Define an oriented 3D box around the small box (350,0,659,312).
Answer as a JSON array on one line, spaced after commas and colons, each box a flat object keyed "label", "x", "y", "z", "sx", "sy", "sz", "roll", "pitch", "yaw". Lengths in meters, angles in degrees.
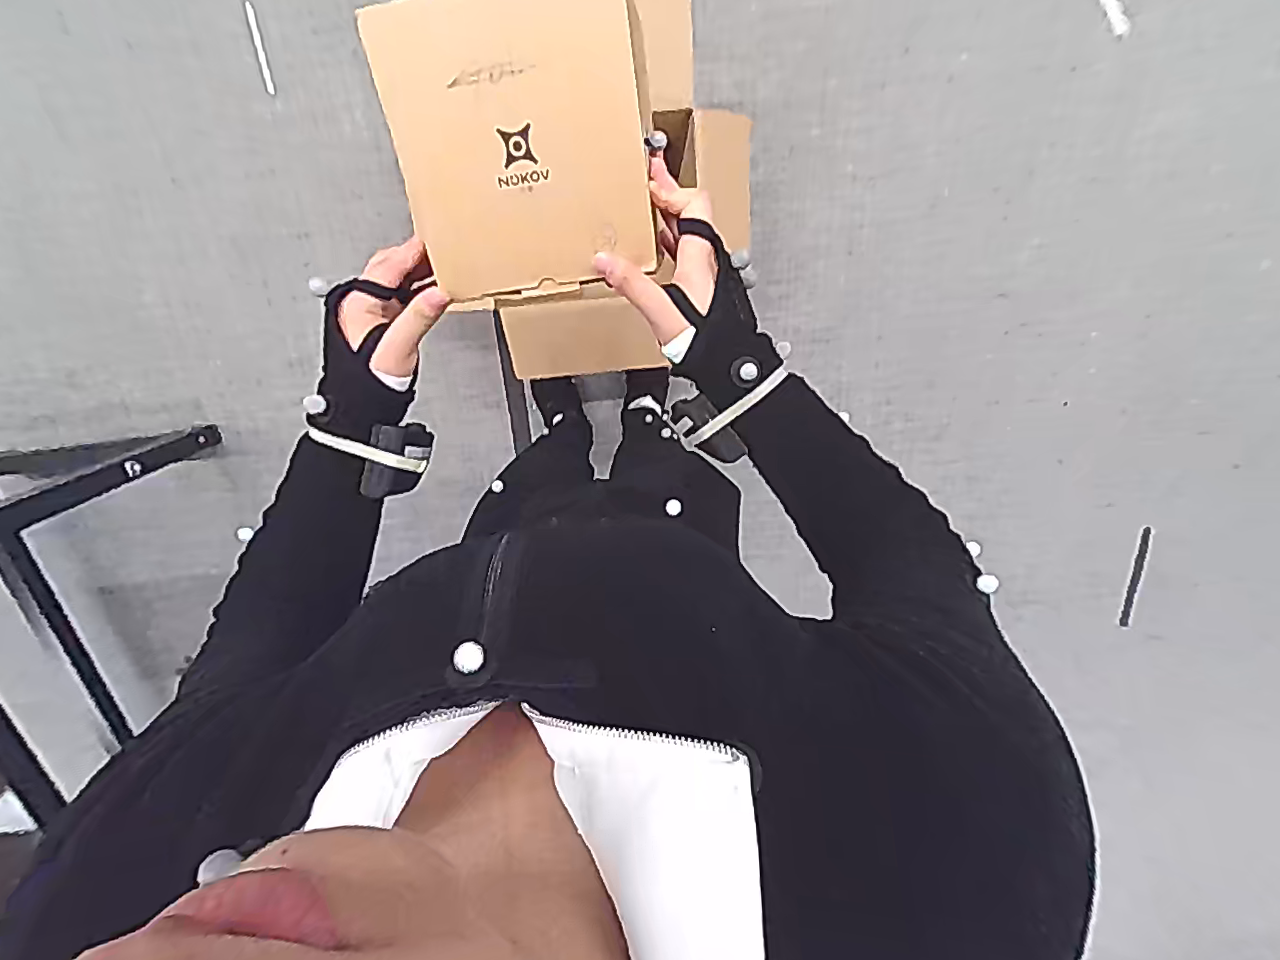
[{"label": "small box", "x": -0.078, "y": -0.249, "z": 0.426, "sx": 0.168, "sy": 0.176, "sz": 0.179, "roll": -7, "pitch": 118, "yaw": 7}]
